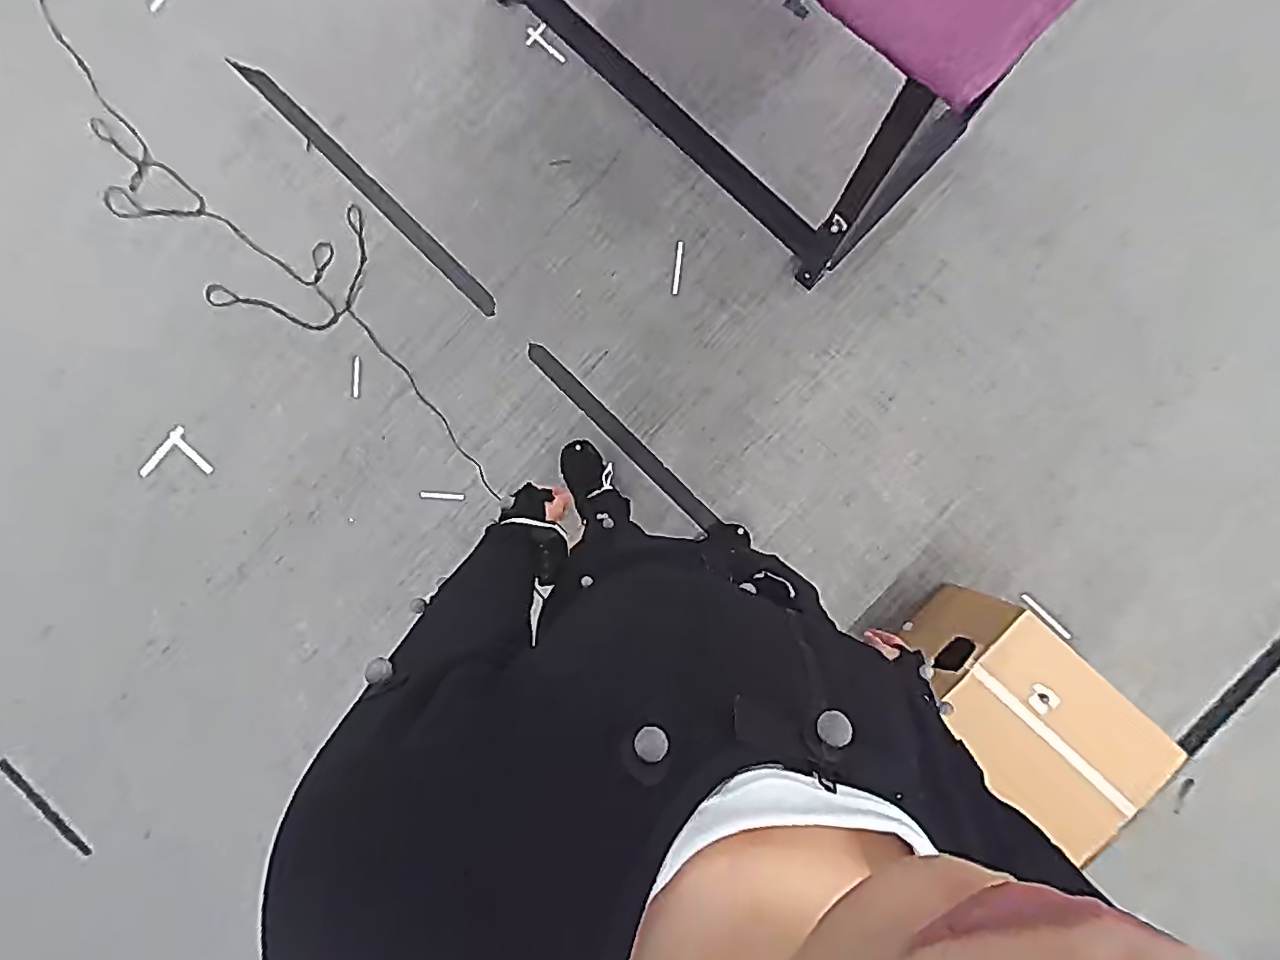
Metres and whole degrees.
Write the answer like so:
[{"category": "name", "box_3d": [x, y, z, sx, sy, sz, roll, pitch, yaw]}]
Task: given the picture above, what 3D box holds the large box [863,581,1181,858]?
[{"category": "large box", "box_3d": [0.788, 0.486, 1.186, 0.408, 0.320, 0.320, 43, 91, 4]}]
